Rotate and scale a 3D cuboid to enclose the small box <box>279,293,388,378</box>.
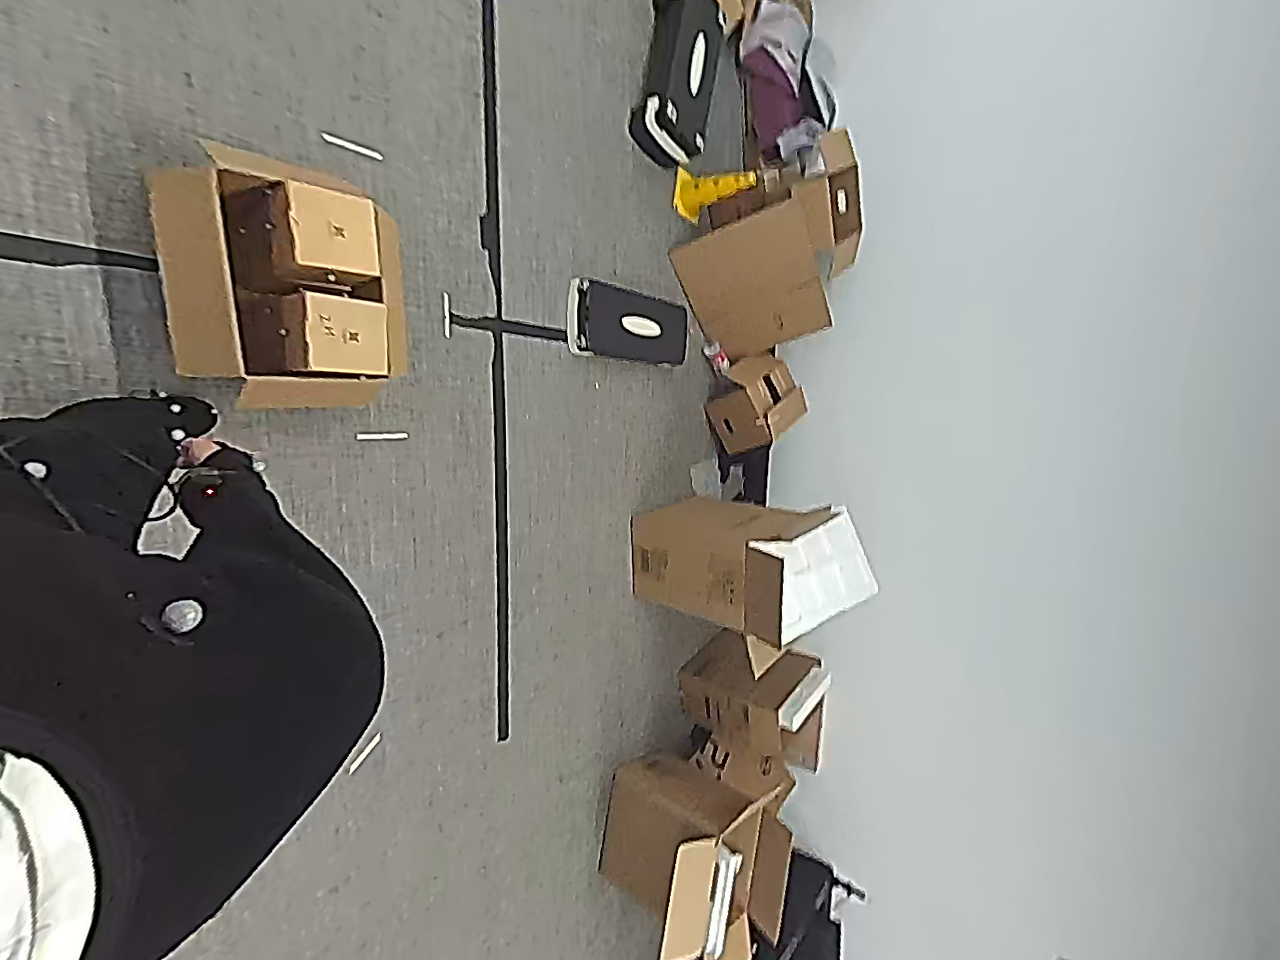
[{"bbox_3d":[-0.713,-0.329,1.261,0.179,0.176,0.168,-6,101,-49],"label":"small box"}]
